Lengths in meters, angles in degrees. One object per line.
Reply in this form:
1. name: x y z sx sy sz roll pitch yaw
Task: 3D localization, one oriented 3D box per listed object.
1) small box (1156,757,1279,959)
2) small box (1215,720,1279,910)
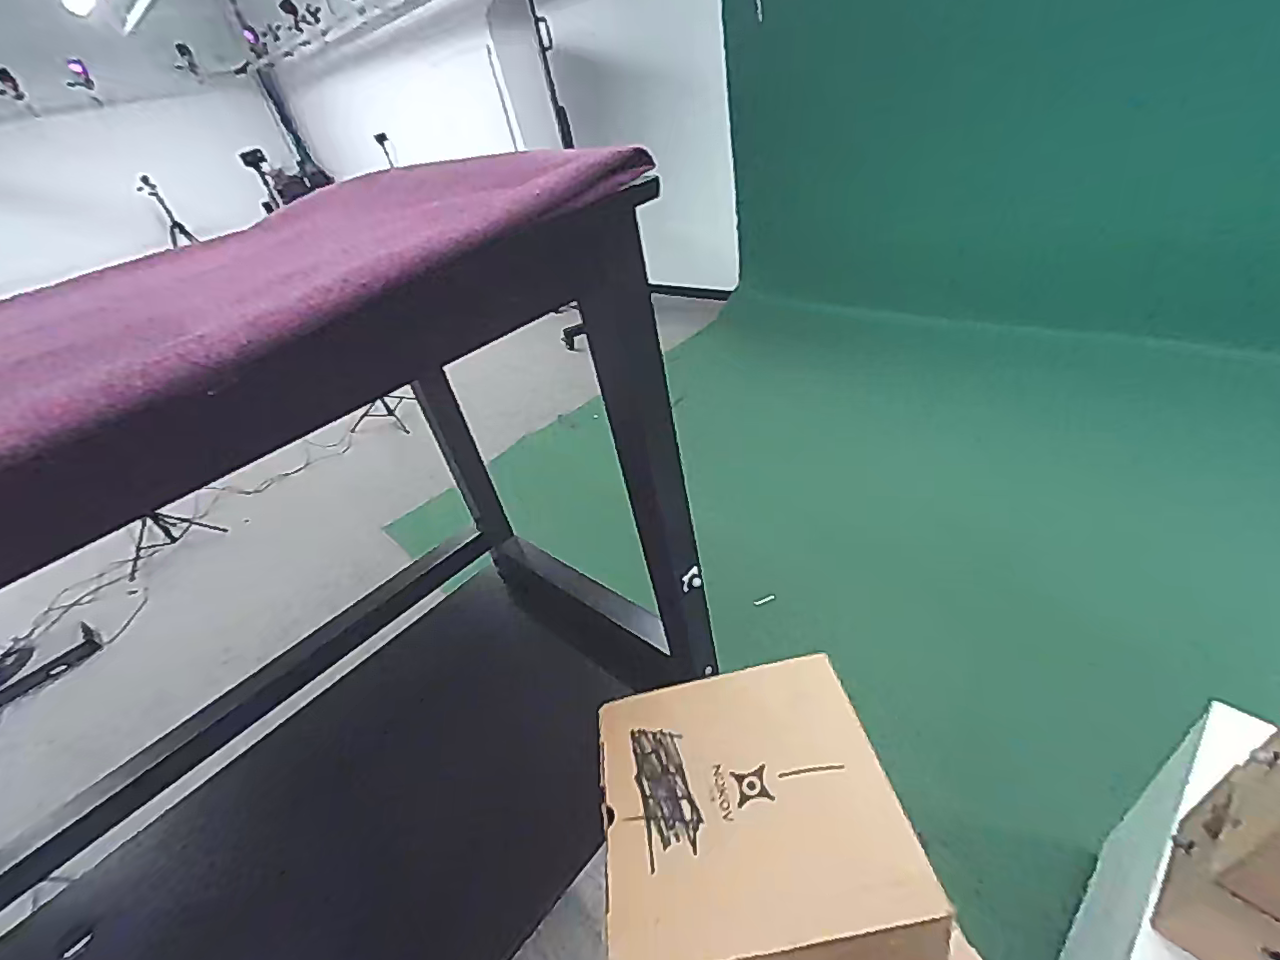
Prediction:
1. small box: 0.719 0.458 0.592 0.168 0.176 0.179 -37 43 -29
2. small box: 0.691 0.330 0.495 0.168 0.176 0.179 -35 43 -28
